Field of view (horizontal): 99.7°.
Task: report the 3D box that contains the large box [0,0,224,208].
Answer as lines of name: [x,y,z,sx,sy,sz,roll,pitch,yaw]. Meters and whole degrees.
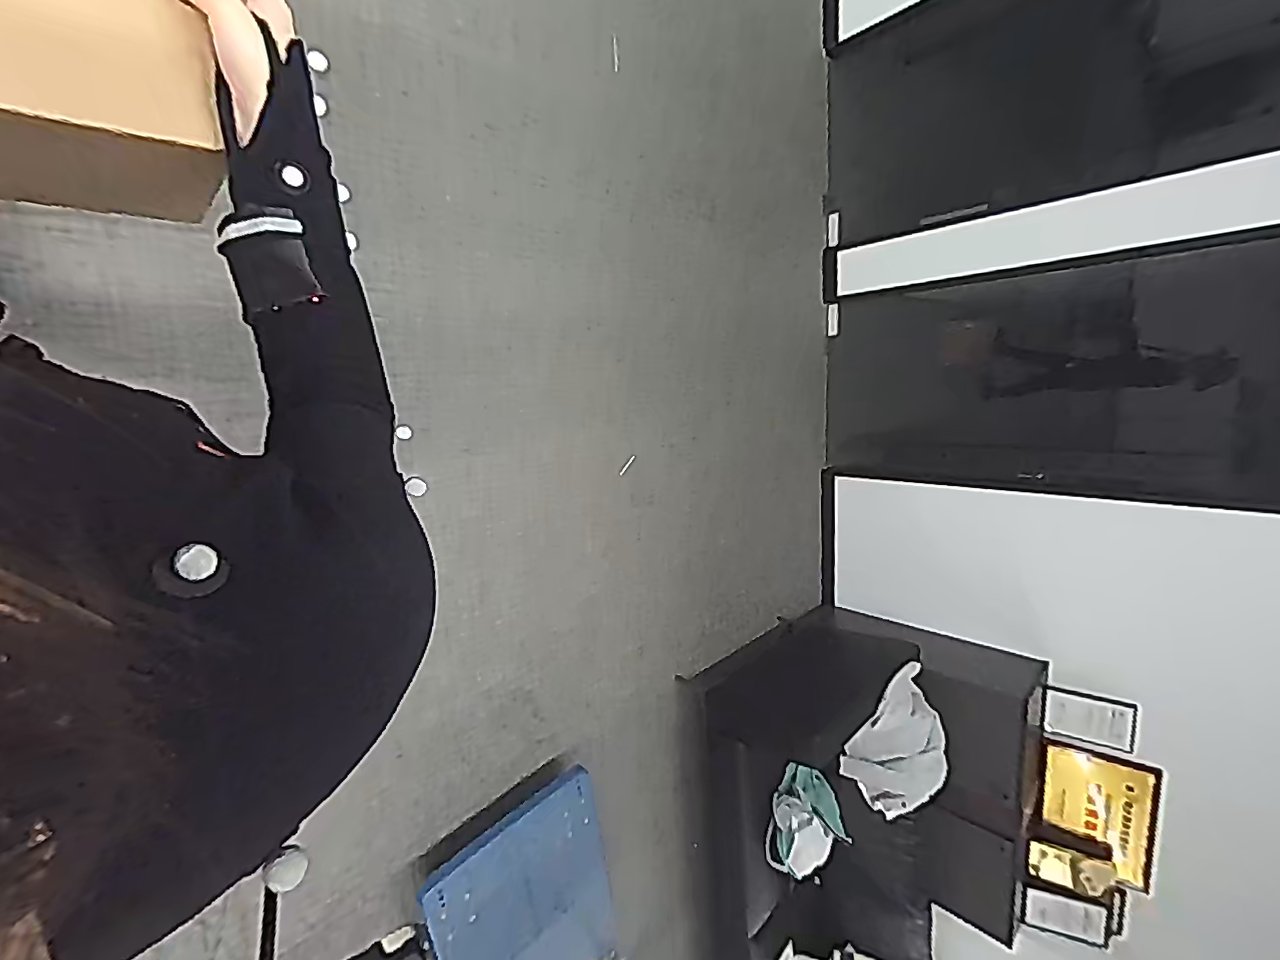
large box: [-0.553,-0.389,0.345,0.408,0.320,0.320,-12,108,-40]
